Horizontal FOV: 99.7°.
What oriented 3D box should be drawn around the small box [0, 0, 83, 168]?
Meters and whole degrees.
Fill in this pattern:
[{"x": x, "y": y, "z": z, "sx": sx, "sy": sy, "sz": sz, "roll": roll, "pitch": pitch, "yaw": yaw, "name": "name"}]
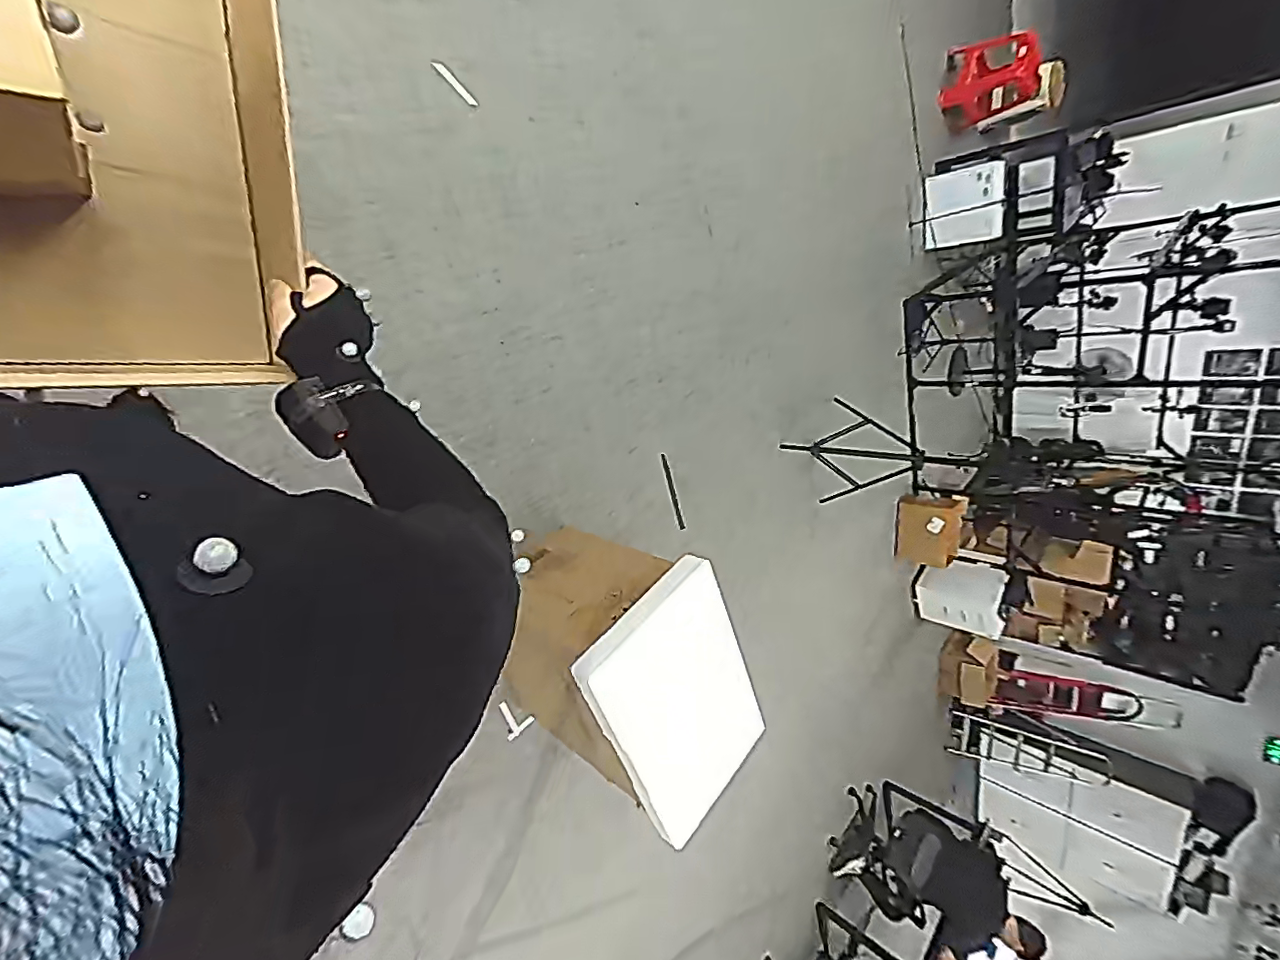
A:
[{"x": -0.401, "y": -0.262, "z": 0.248, "sx": 0.179, "sy": 0.176, "sz": 0.168, "roll": -17, "pitch": 112, "yaw": -42, "name": "small box"}]
